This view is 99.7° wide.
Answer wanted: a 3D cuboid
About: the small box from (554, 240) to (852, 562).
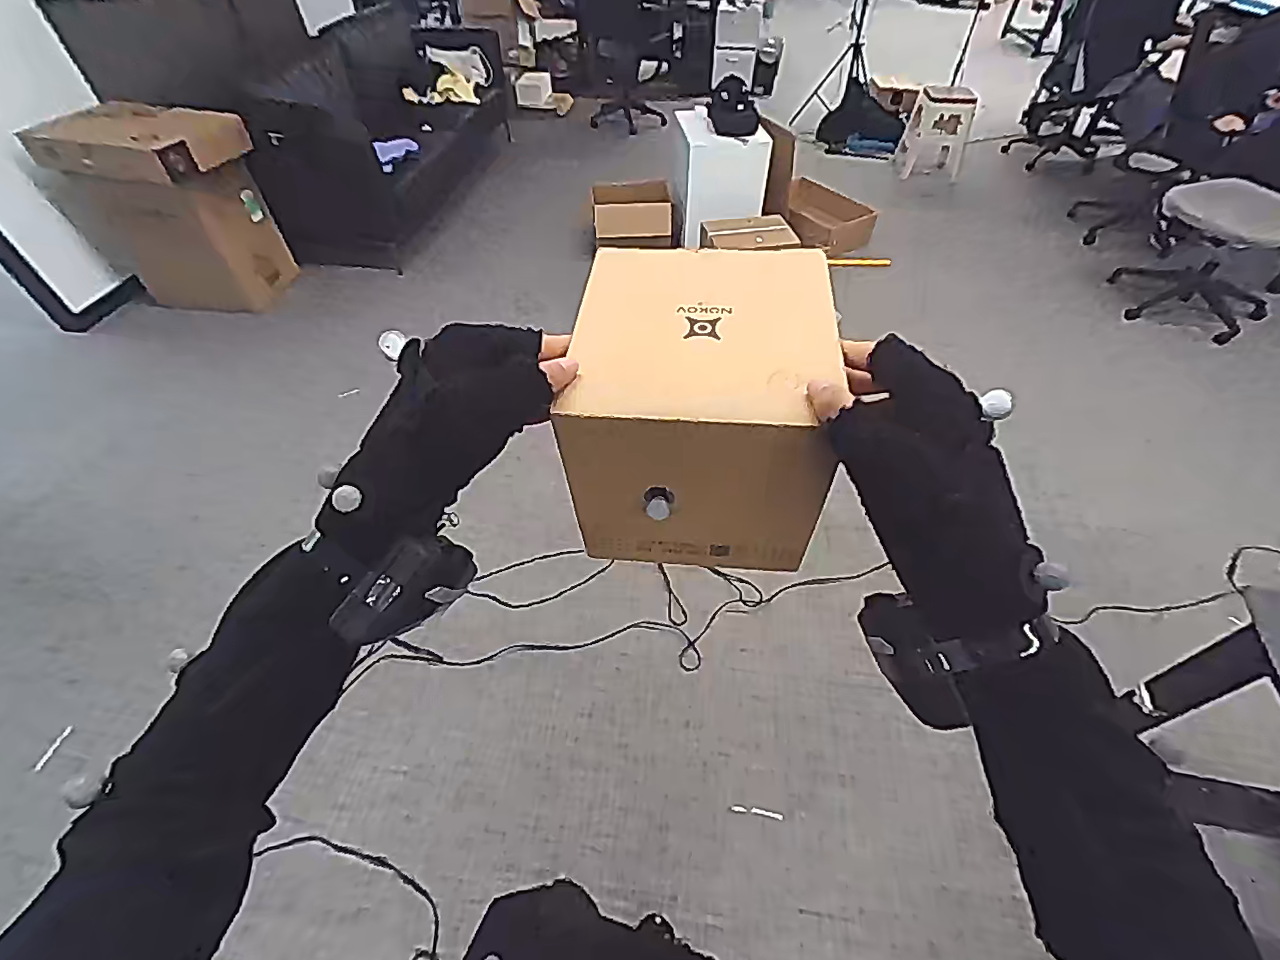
[{"bbox_3d":[0.046,-0.054,0.404,0.168,0.176,0.179,3,53,6],"label":"small box"}]
